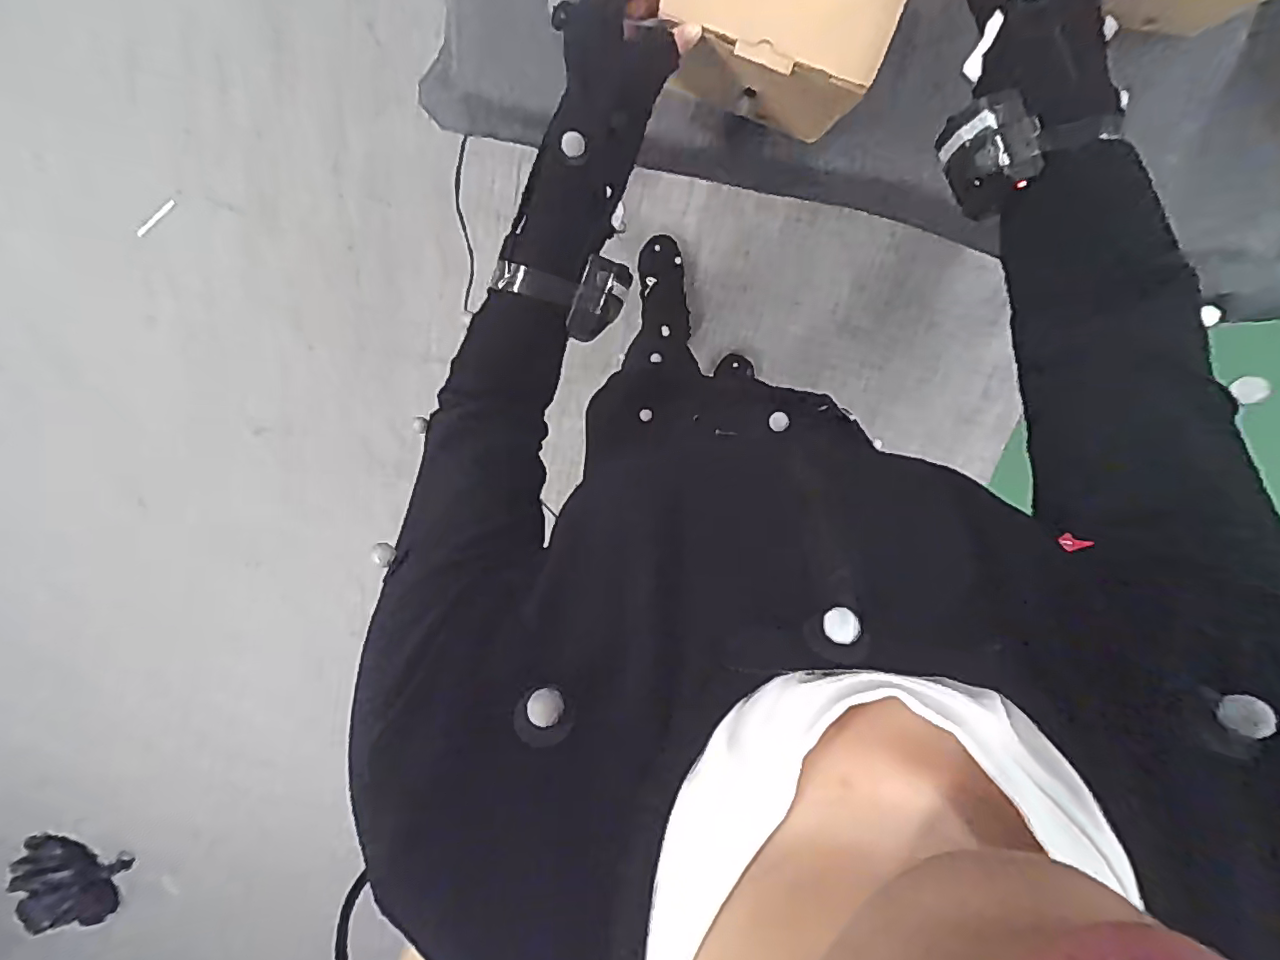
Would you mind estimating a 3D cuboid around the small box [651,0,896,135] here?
[{"bbox_3d":[0.117,-0.412,0.438,0.168,0.176,0.179,18,112,-3],"label":"small box"}]
